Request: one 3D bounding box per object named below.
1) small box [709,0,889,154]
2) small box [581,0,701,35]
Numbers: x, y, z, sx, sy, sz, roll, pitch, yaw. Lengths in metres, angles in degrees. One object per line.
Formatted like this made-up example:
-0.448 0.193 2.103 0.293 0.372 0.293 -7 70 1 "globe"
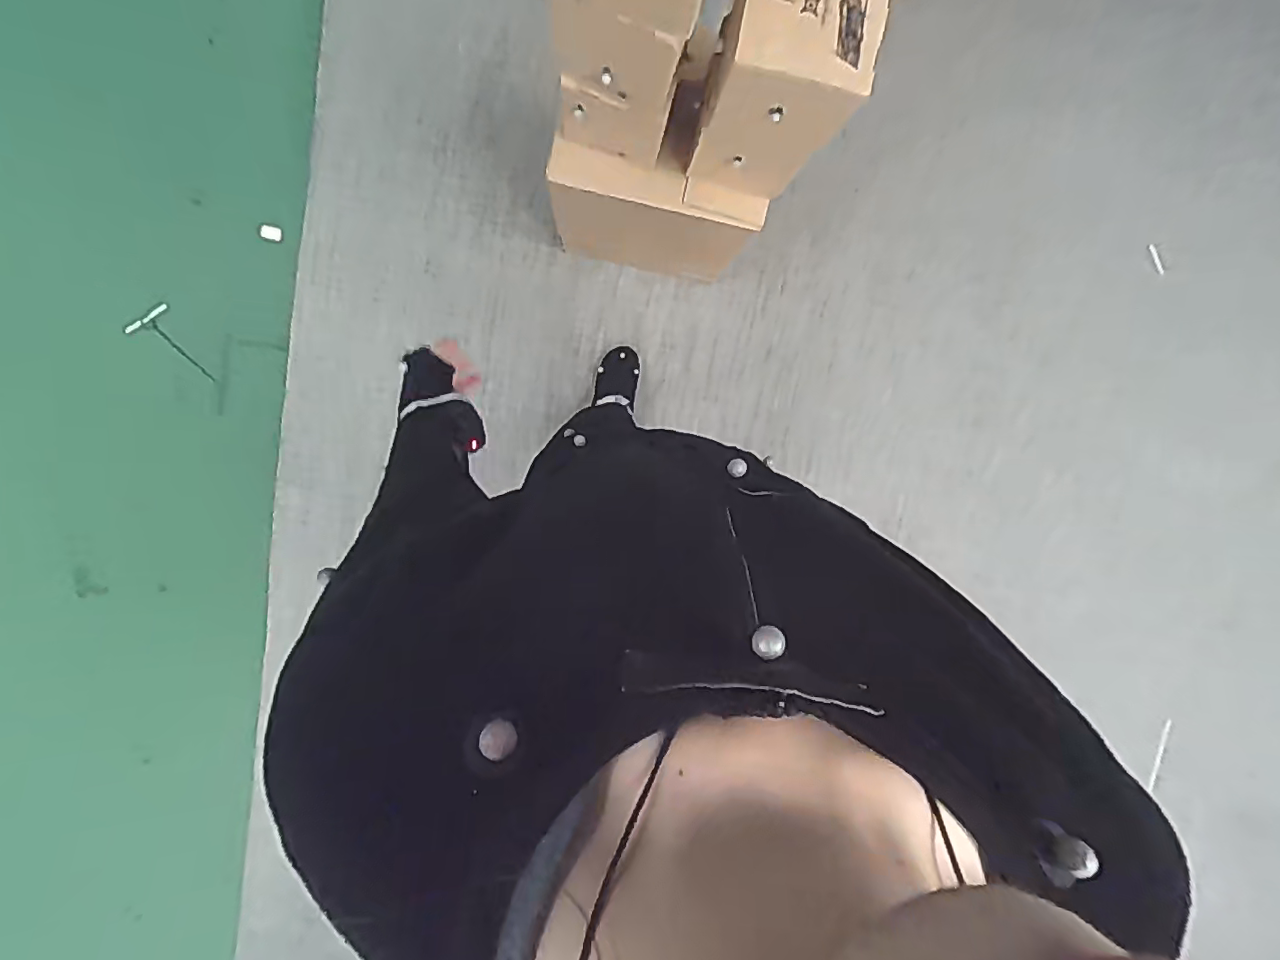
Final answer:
0.205 -0.572 0.729 0.179 0.176 0.168 11 96 -4 "small box"
0.004 -0.609 0.547 0.179 0.176 0.168 16 96 -7 "small box"
